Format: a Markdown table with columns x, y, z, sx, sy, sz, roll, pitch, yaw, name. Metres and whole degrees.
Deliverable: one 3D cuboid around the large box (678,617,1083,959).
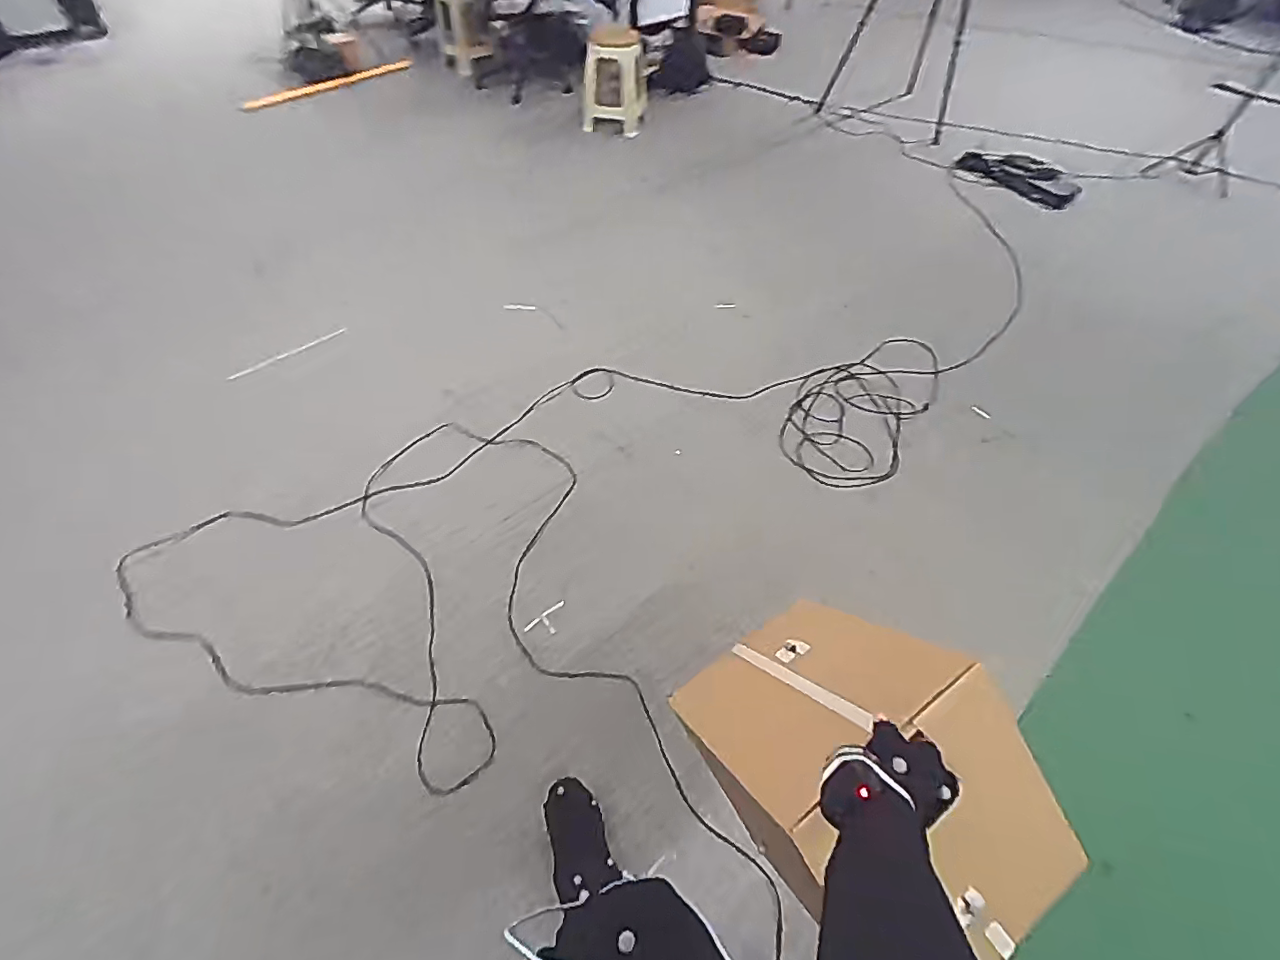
| x | y | z | sx | sy | sz | roll | pitch | yaw | name |
| --- | --- | --- | --- | --- | --- | --- | --- | --- | --- |
| 0.319 | 0.453 | 0.822 | 0.320 | 0.408 | 0.320 | -31 | 94 | -15 | large box |
